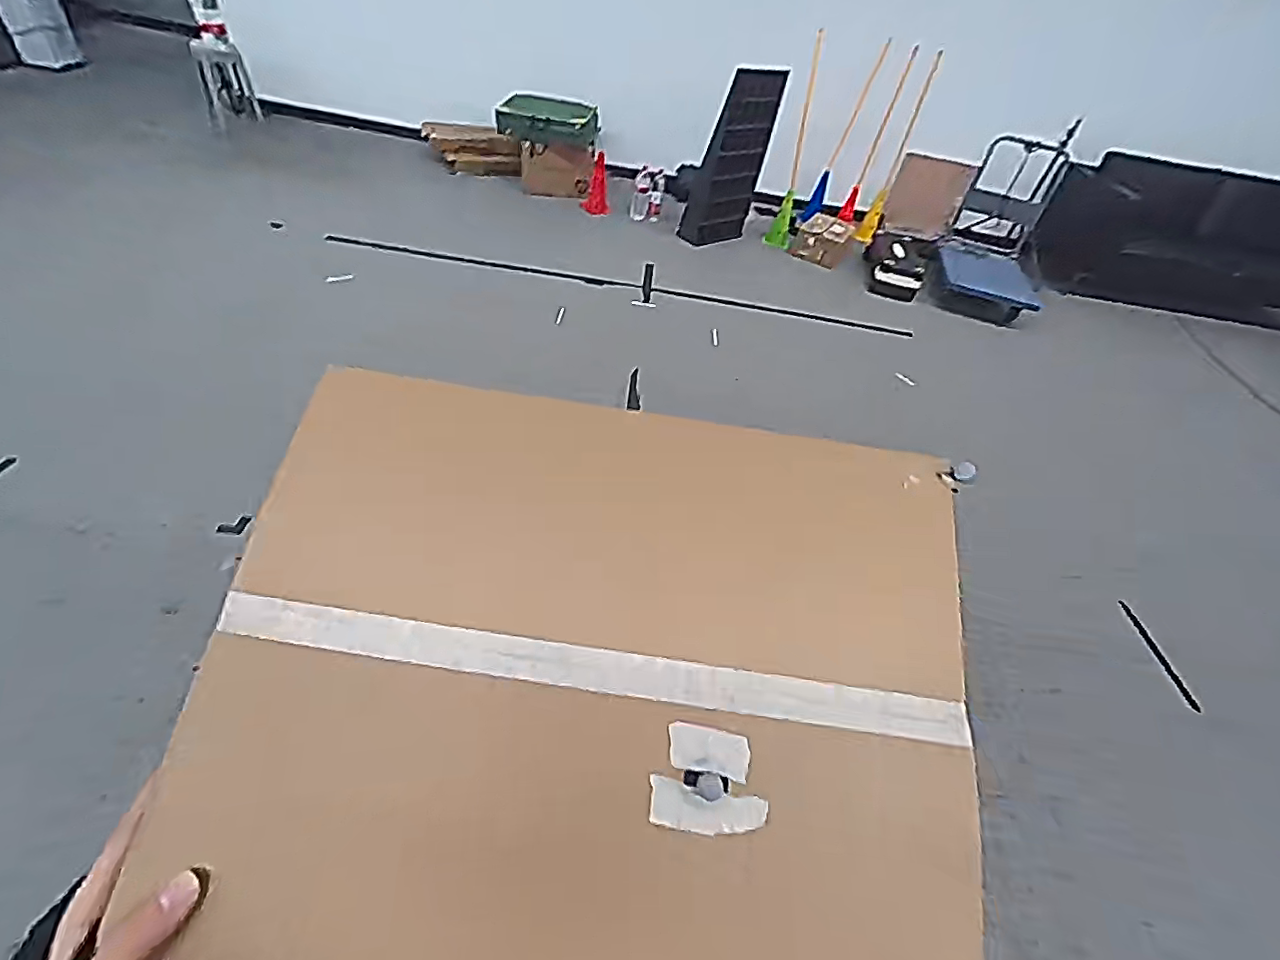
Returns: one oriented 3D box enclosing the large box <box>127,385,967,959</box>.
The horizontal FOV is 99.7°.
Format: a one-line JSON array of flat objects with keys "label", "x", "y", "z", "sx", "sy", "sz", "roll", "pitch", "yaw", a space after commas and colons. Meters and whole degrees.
[{"label": "large box", "x": -0.032, "y": 0.154, "z": 0.440, "sx": 0.408, "sy": 0.320, "sz": 0.320, "roll": 8, "pitch": 70, "yaw": 0}]
